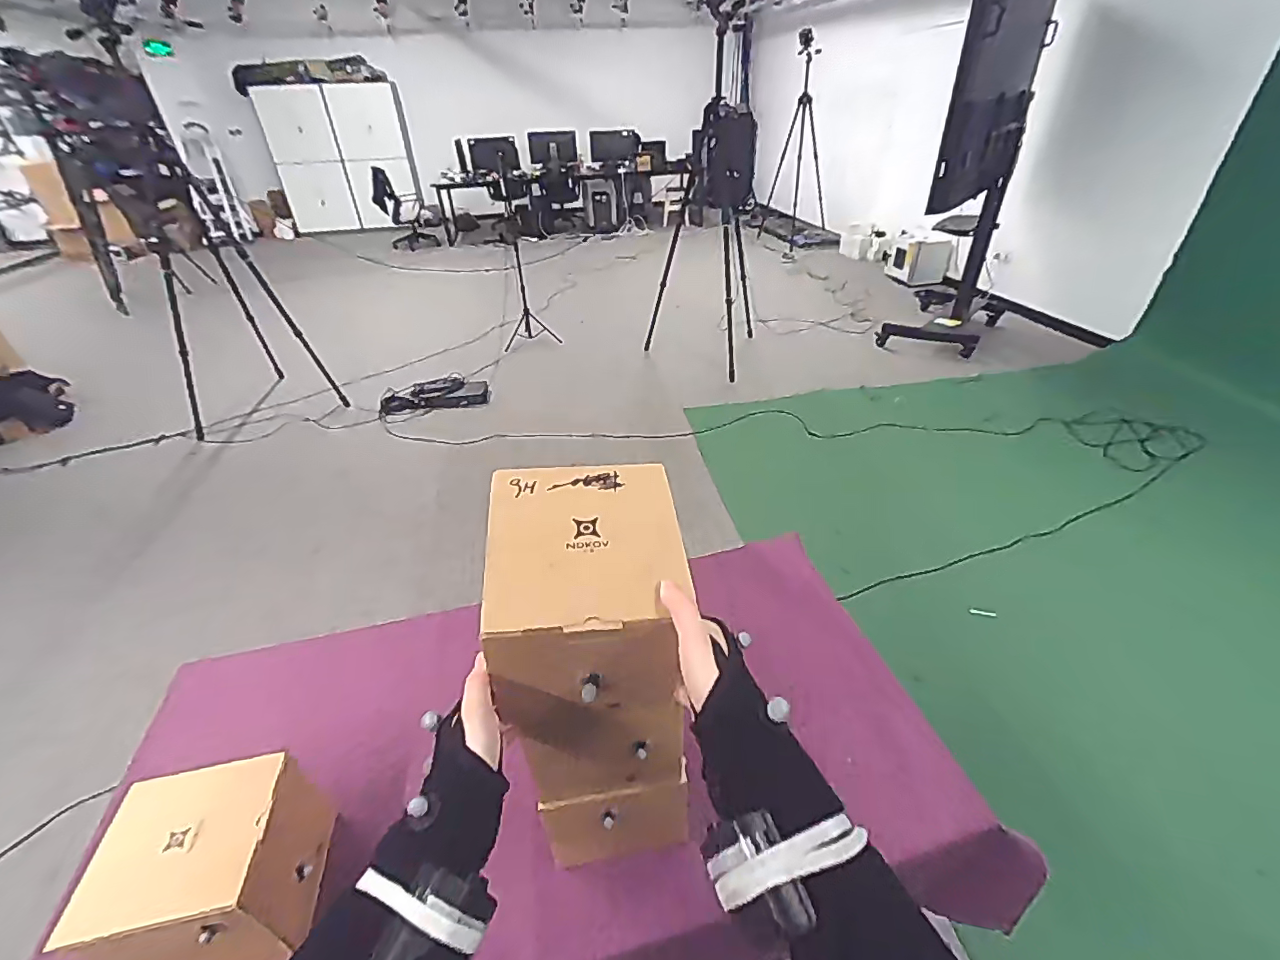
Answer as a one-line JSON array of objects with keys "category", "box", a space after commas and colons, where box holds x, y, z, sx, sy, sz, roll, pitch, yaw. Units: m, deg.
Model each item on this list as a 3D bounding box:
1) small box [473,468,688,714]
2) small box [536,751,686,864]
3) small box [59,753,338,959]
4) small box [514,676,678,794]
[{"category": "small box", "box": [-0.057, 0.110, 0.519, 0.168, 0.176, 0.179, -2, 47, -8]}, {"category": "small box", "box": [-0.038, 0.386, 0.731, 0.179, 0.176, 0.168, -7, 35, -5]}, {"category": "small box", "box": [-0.502, 0.471, 0.654, 0.179, 0.176, 0.168, -9, 35, -9]}, {"category": "small box", "box": [-0.048, 0.247, 0.645, 0.168, 0.176, 0.179, -6, 34, -4]}]
